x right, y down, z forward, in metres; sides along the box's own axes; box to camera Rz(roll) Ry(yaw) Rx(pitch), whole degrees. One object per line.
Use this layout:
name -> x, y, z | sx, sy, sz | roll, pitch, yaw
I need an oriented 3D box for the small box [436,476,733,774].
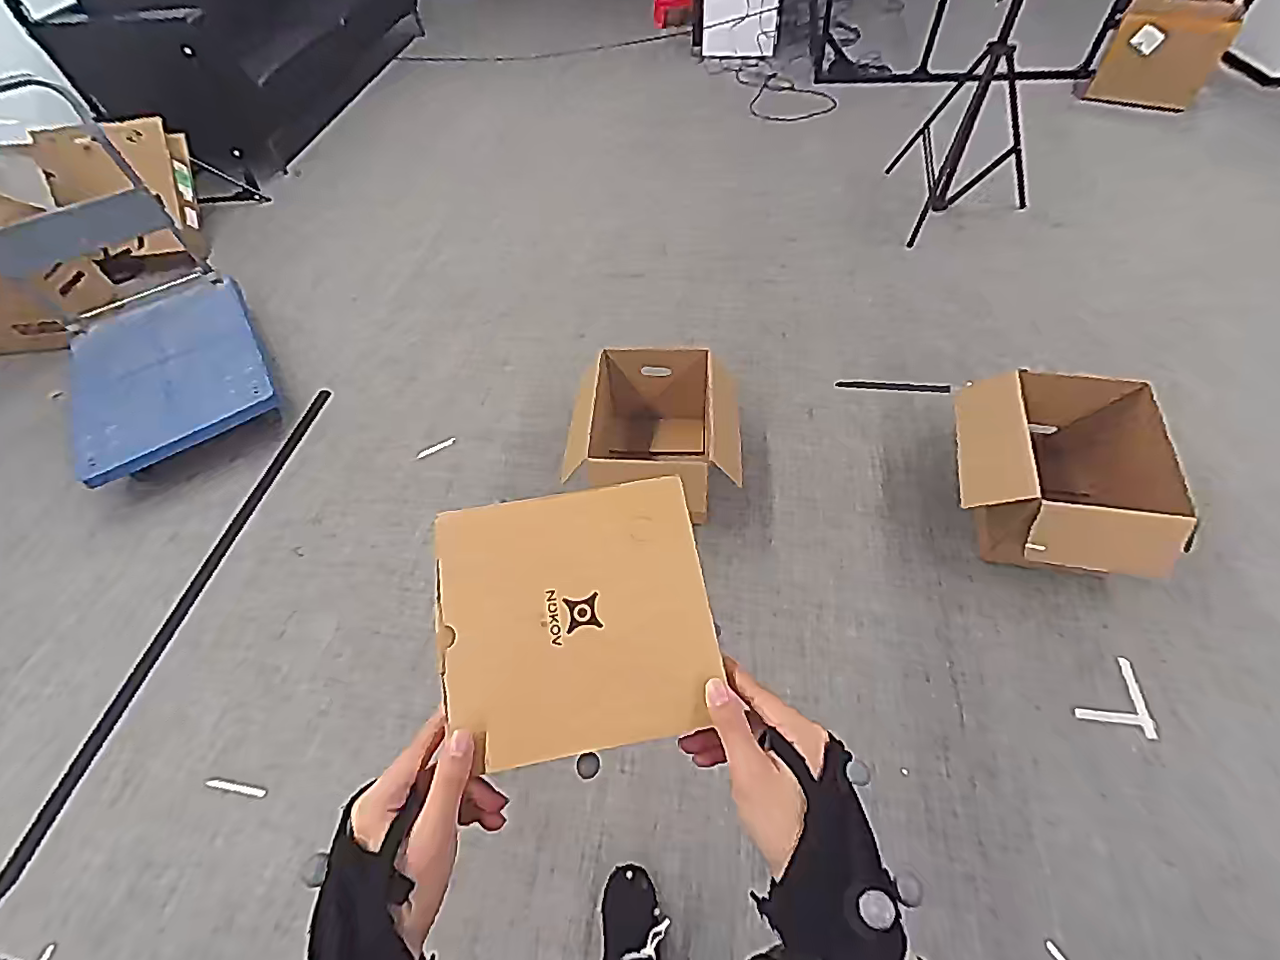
small box -> -0.042, 0.112, 0.425 | 0.179, 0.176, 0.168 | -10, 69, -4
